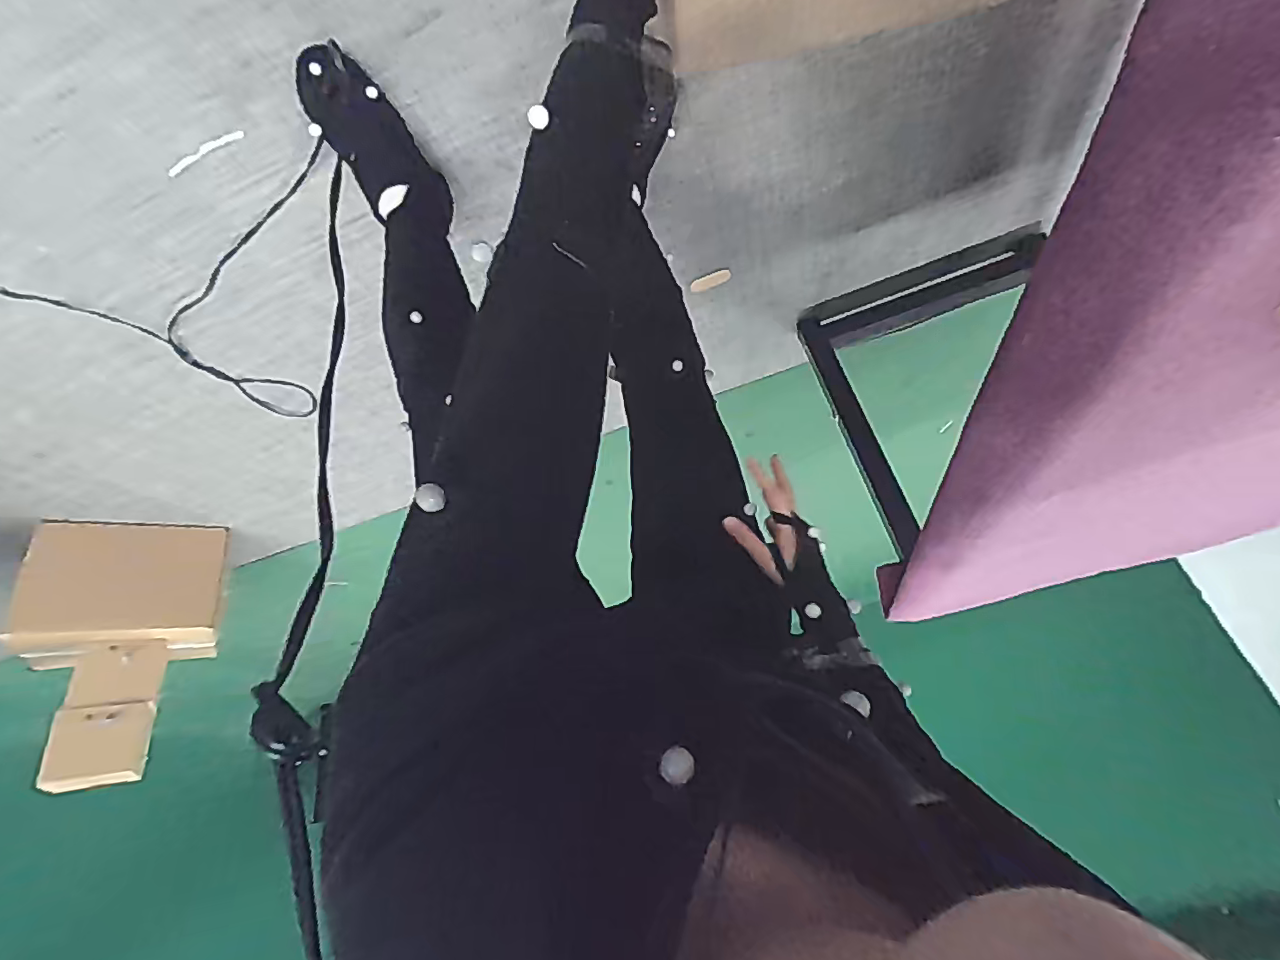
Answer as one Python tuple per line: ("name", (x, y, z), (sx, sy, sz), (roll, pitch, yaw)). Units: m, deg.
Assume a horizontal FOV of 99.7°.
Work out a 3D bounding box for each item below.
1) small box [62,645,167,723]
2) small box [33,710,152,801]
("small box", (-1.379, 0.546, 1.433), (0.168, 0.176, 0.179), (10, 143, -35))
("small box", (-1.348, 0.681, 1.347), (0.168, 0.176, 0.179), (7, 145, -33))
